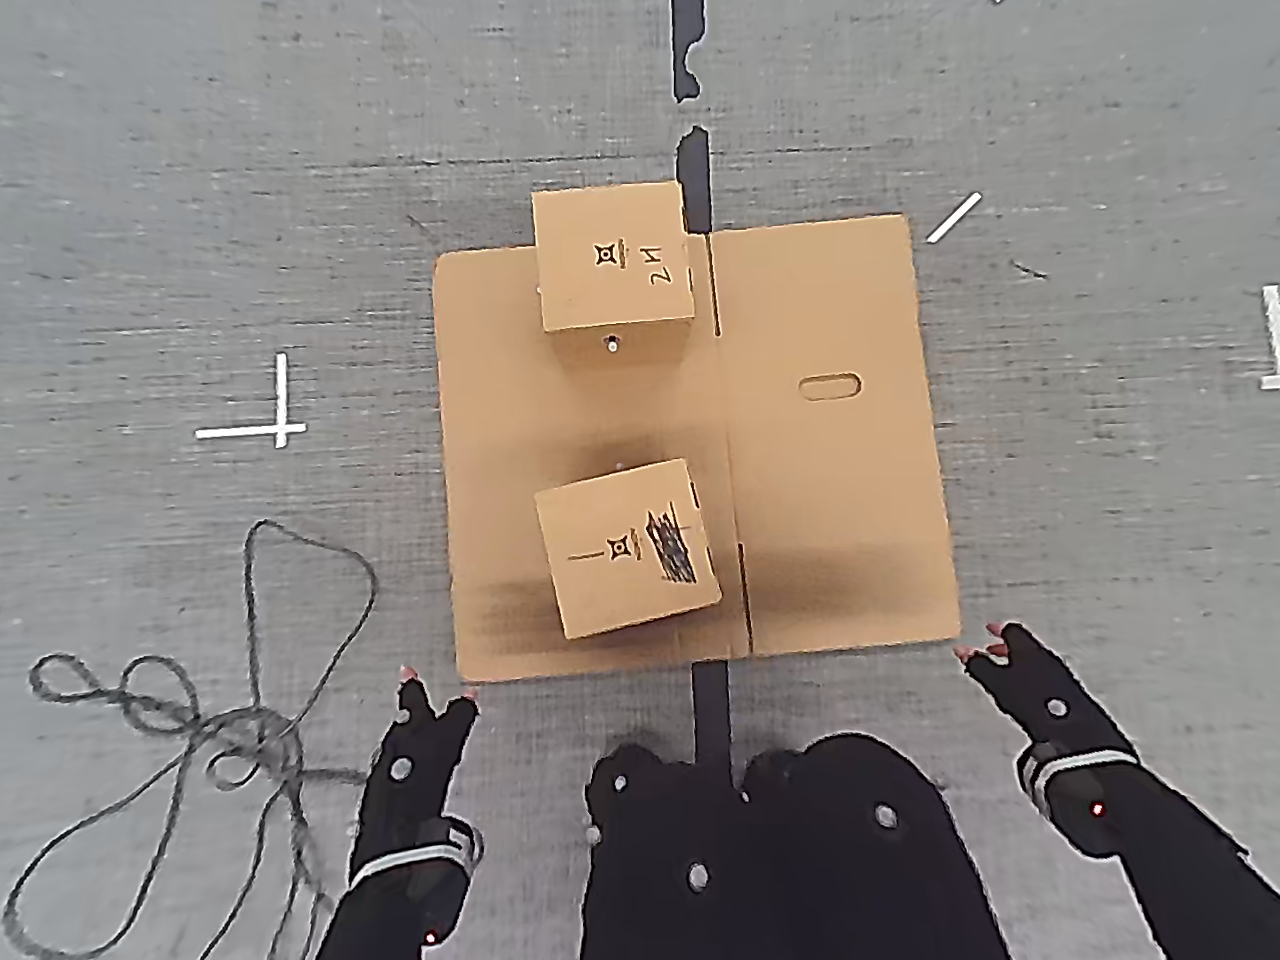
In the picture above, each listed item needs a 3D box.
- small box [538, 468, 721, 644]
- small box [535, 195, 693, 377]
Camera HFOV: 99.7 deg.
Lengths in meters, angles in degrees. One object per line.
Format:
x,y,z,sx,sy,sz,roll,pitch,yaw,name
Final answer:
-0.014,0.087,0.676,0.179,0.176,0.168,-13,86,-1,small box
-0.031,-0.238,0.702,0.179,0.176,0.168,-5,85,-2,small box
